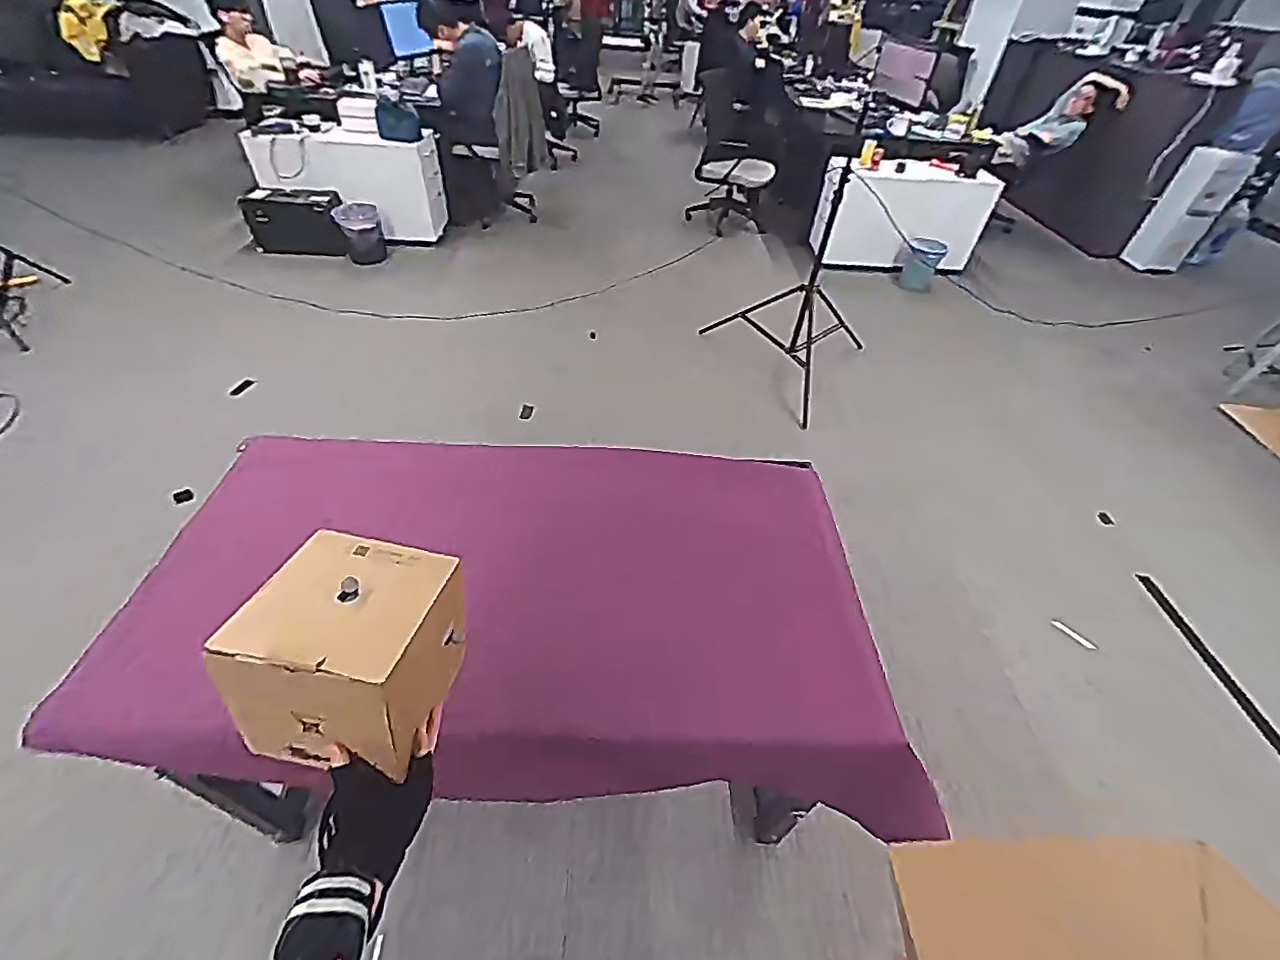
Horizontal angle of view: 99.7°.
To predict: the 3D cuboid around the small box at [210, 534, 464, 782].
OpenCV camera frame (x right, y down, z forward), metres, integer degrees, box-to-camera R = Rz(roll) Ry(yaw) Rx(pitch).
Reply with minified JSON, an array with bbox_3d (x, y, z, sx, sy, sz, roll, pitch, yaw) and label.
[{"bbox_3d":[-0.299,0.181,0.580,0.168,0.179,0.176,11,32,1],"label":"small box"}]
